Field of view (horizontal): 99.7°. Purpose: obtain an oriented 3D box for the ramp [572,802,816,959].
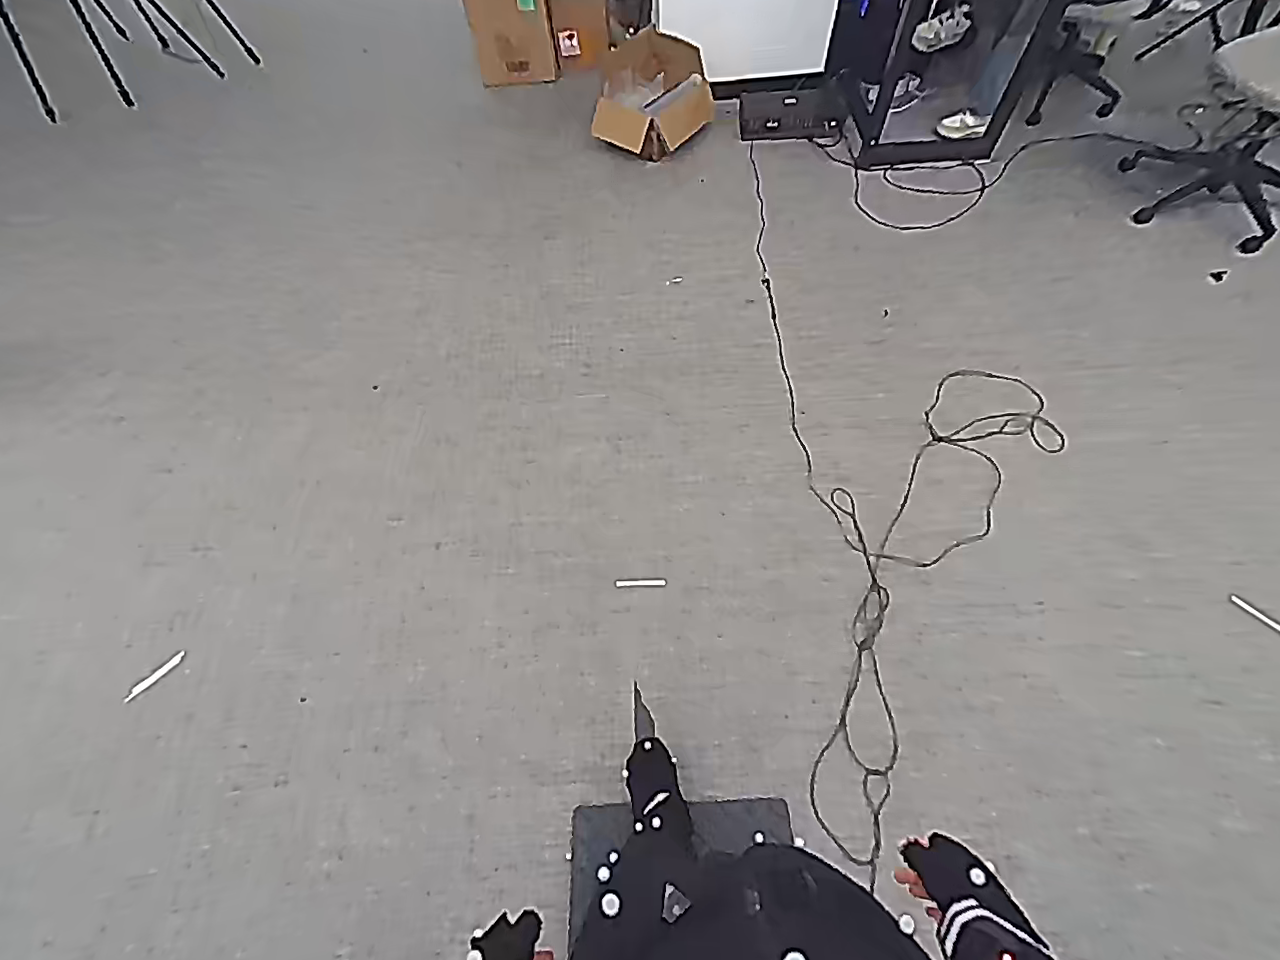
[{"bbox_3d":[0.111,1.137,0.928,0.509,0.206,0.991,-5,60,1],"label":"ramp"}]
